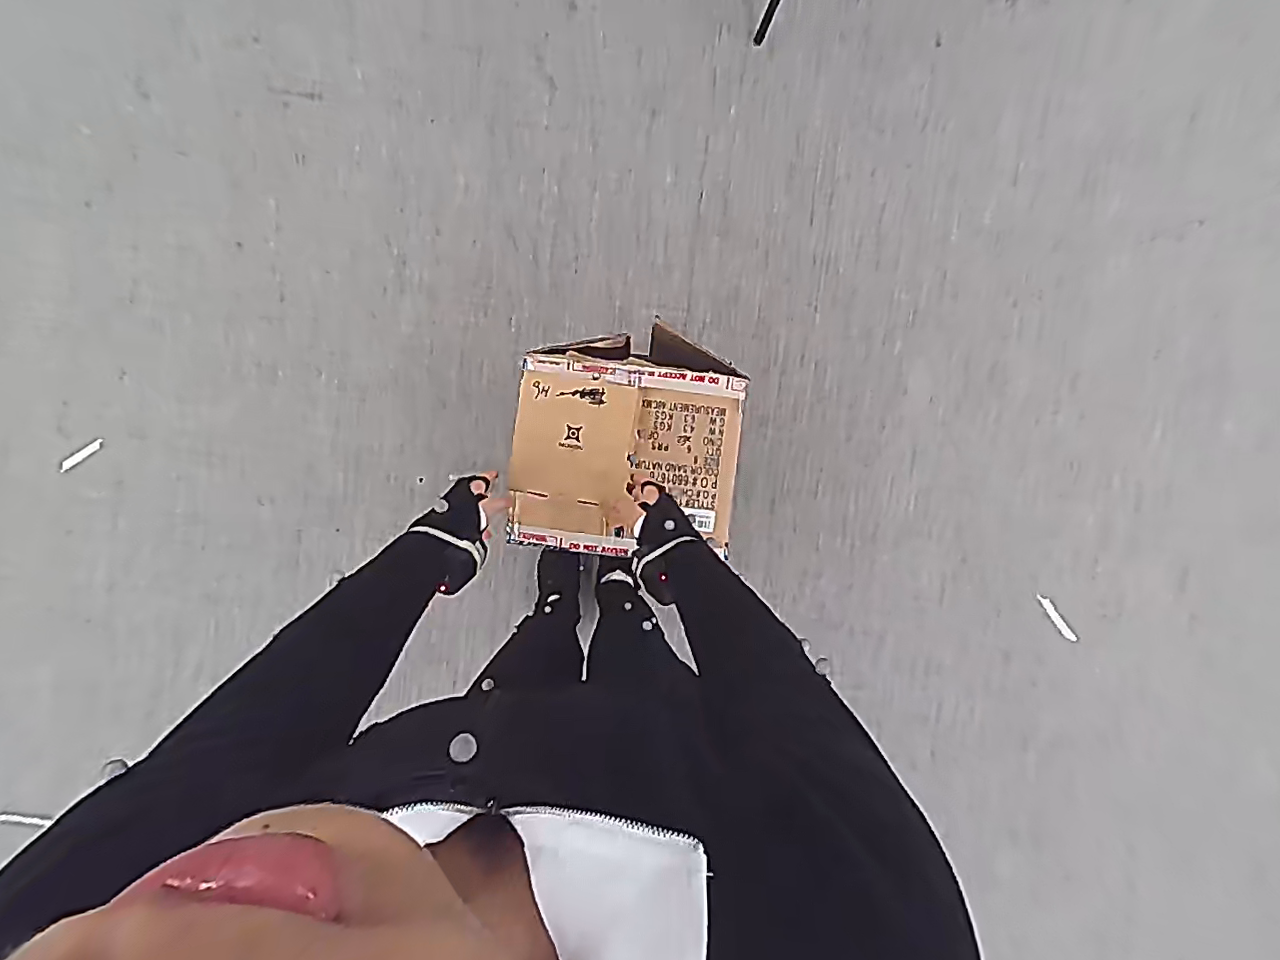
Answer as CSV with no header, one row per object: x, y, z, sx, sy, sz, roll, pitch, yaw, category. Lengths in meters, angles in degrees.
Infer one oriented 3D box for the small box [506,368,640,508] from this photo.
-0.094,-0.066,0.836,0.168,0.176,0.179,10,96,1,small box
